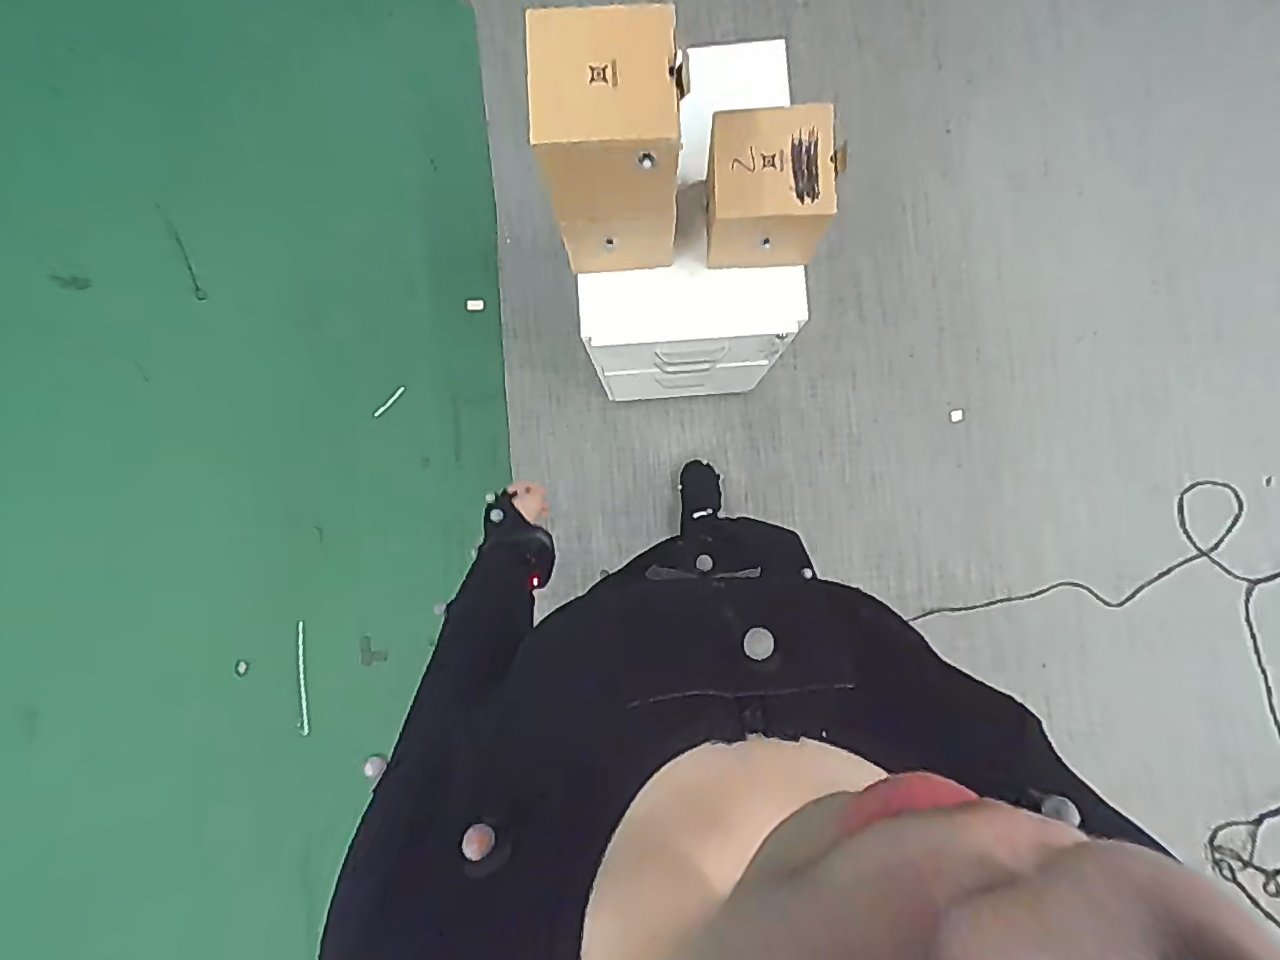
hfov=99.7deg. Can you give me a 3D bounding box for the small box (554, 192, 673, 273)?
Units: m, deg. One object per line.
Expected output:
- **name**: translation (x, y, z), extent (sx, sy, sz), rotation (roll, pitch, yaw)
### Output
- **small box**: translation (-0.040, -0.448, 0.870), extent (0.179, 0.176, 0.168), rotation (-4, 86, 1)

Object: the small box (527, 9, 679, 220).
- **small box**: translation (-0.044, -0.462, 0.708), extent (0.179, 0.176, 0.168), rotation (-2, 86, -1)
